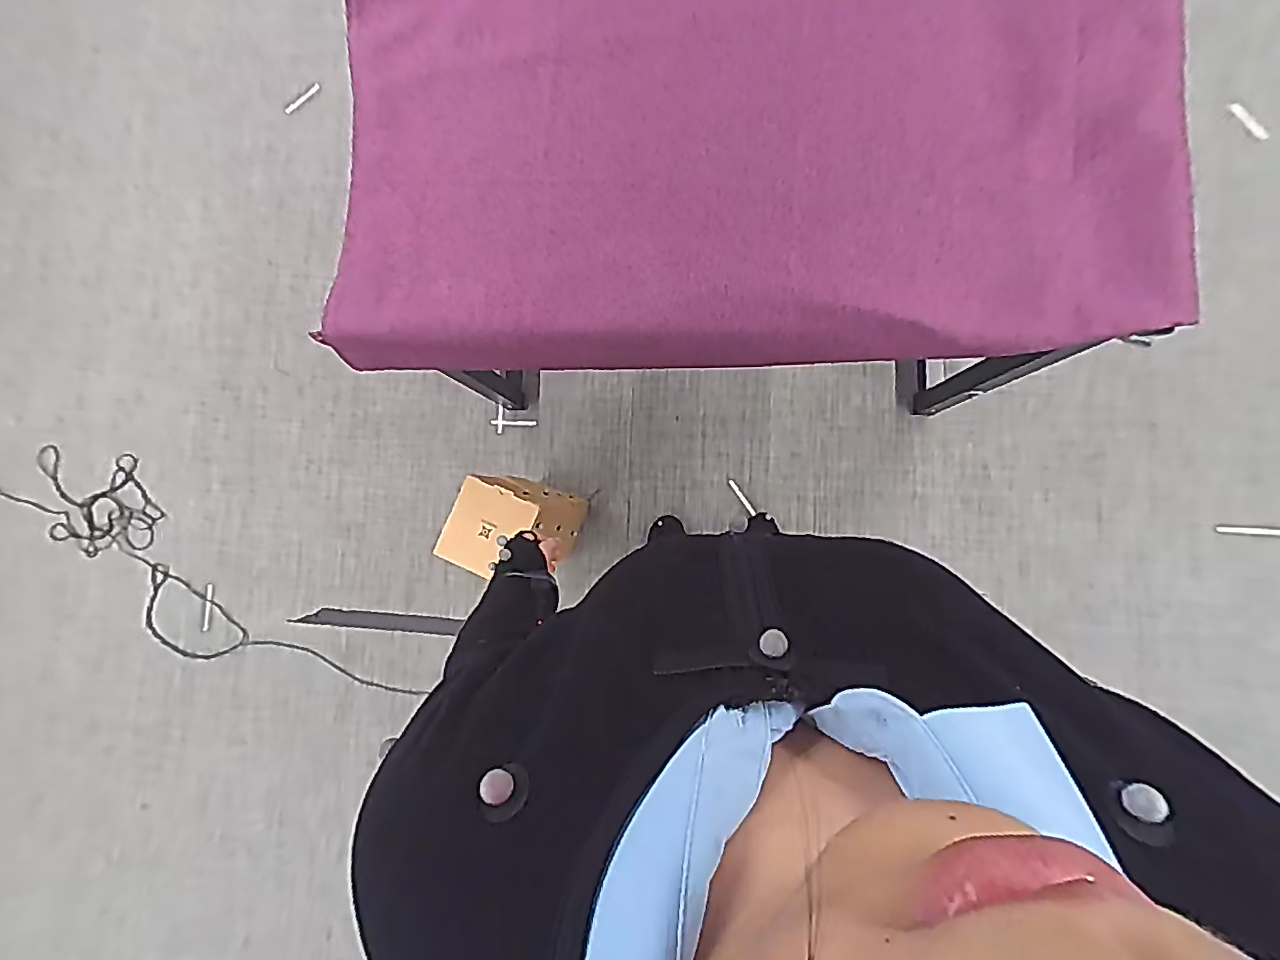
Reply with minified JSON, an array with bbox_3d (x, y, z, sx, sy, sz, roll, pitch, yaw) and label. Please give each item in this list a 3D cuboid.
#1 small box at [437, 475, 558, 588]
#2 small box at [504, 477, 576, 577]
[{"bbox_3d":[-0.289,0.105,1.141,0.168,0.176,0.179,23,89,6],"label":"small box"},{"bbox_3d":[-0.270,0.109,1.302,0.168,0.176,0.179,30,90,6],"label":"small box"}]
